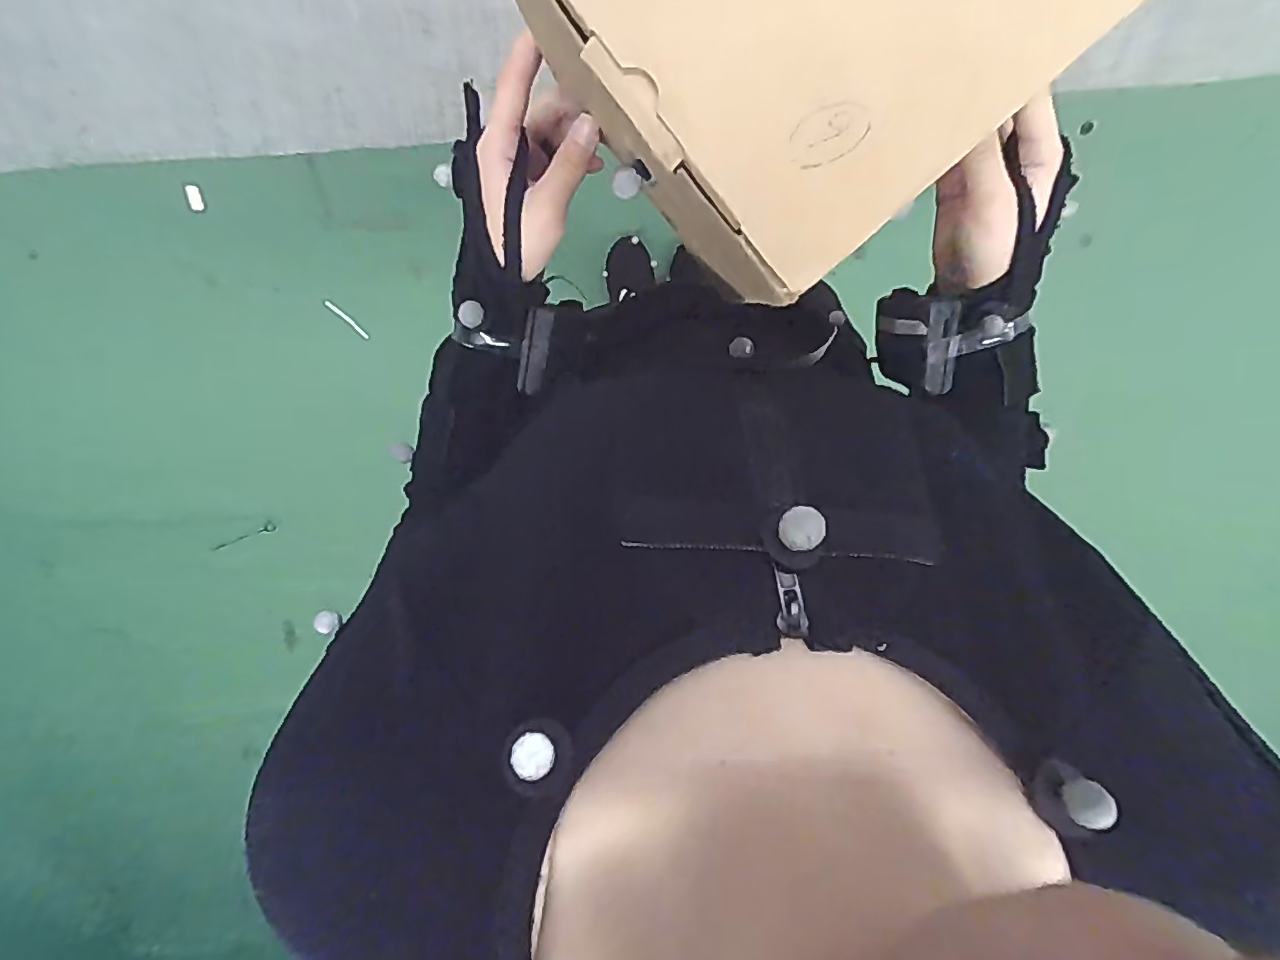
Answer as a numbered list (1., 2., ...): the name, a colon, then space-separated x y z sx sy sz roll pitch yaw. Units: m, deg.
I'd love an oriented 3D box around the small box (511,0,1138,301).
1. small box: 0.063 -0.196 0.231 0.179 0.176 0.168 -39 102 14
